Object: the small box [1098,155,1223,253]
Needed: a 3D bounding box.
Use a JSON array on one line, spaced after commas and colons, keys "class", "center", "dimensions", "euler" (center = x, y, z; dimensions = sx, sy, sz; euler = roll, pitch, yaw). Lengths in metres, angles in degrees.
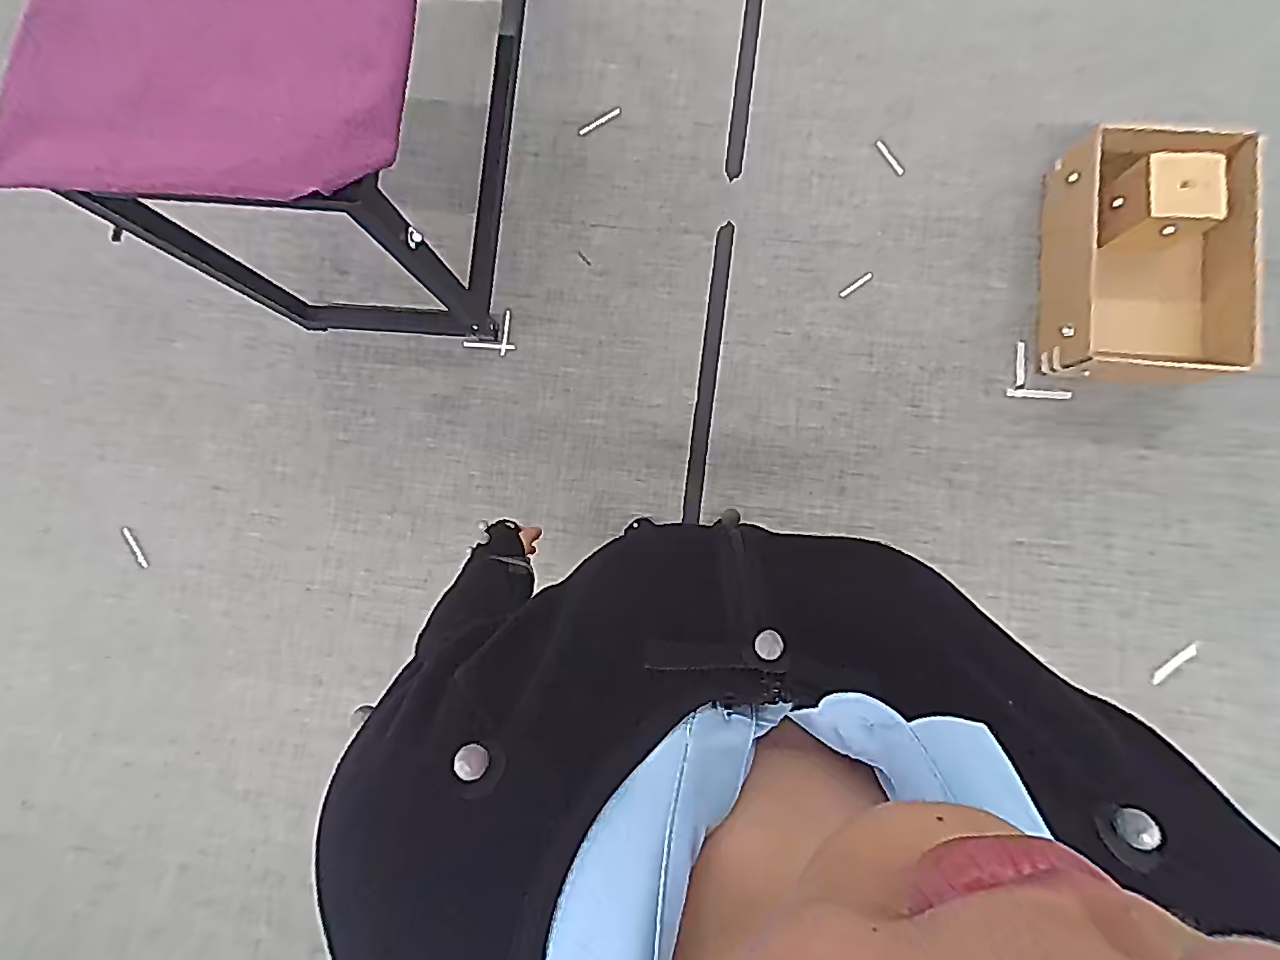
[{"class": "small box", "center": [1.333, -0.706, 1.397], "dimensions": [0.179, 0.176, 0.168], "euler": [3, 87, 3]}]
